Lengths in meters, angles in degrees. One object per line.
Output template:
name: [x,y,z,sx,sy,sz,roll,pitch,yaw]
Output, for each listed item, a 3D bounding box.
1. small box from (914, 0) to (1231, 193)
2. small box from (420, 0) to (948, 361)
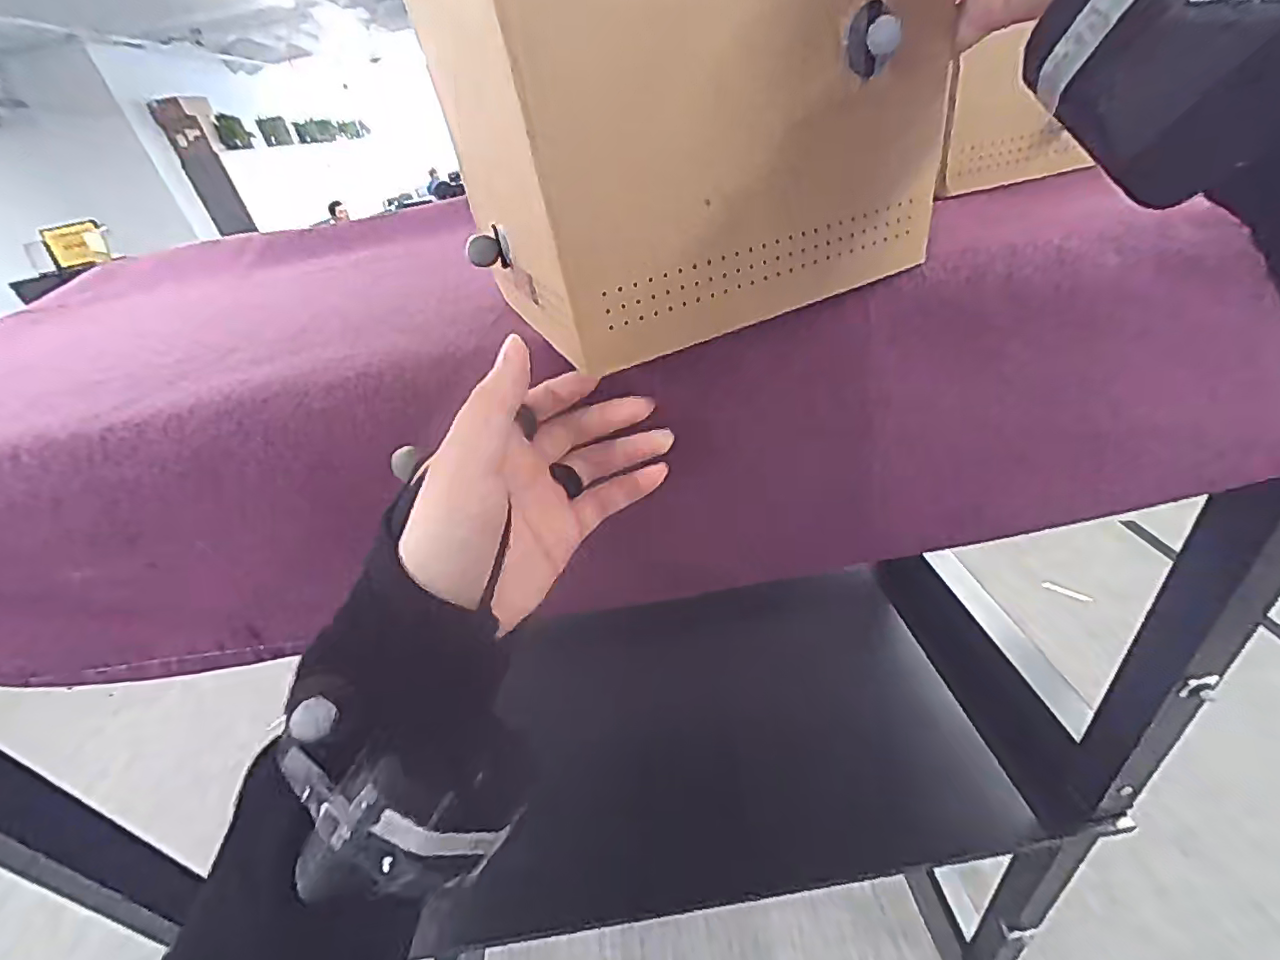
small box: [0.251,-0.312,0.370,0.179,0.176,0.168,-12,33,-1]
small box: [0.011,-0.176,0.248,0.179,0.176,0.168,-23,35,-15]
